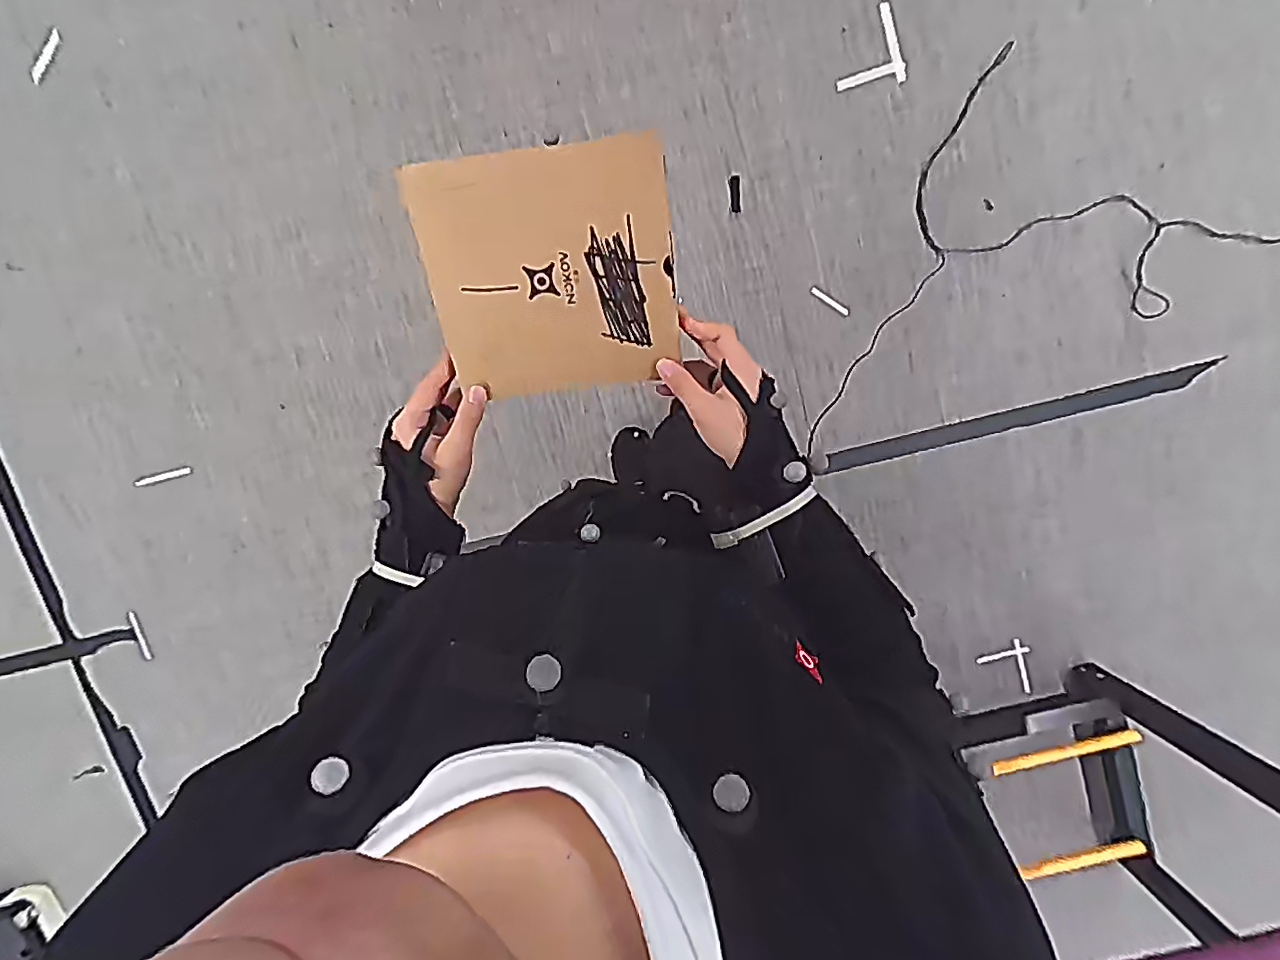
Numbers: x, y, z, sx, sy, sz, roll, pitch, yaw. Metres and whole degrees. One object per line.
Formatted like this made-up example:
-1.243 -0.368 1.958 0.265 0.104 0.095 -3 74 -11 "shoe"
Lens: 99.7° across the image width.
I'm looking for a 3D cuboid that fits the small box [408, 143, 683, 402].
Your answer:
-0.064 -0.181 0.463 0.179 0.176 0.168 -7 118 1 "small box"
